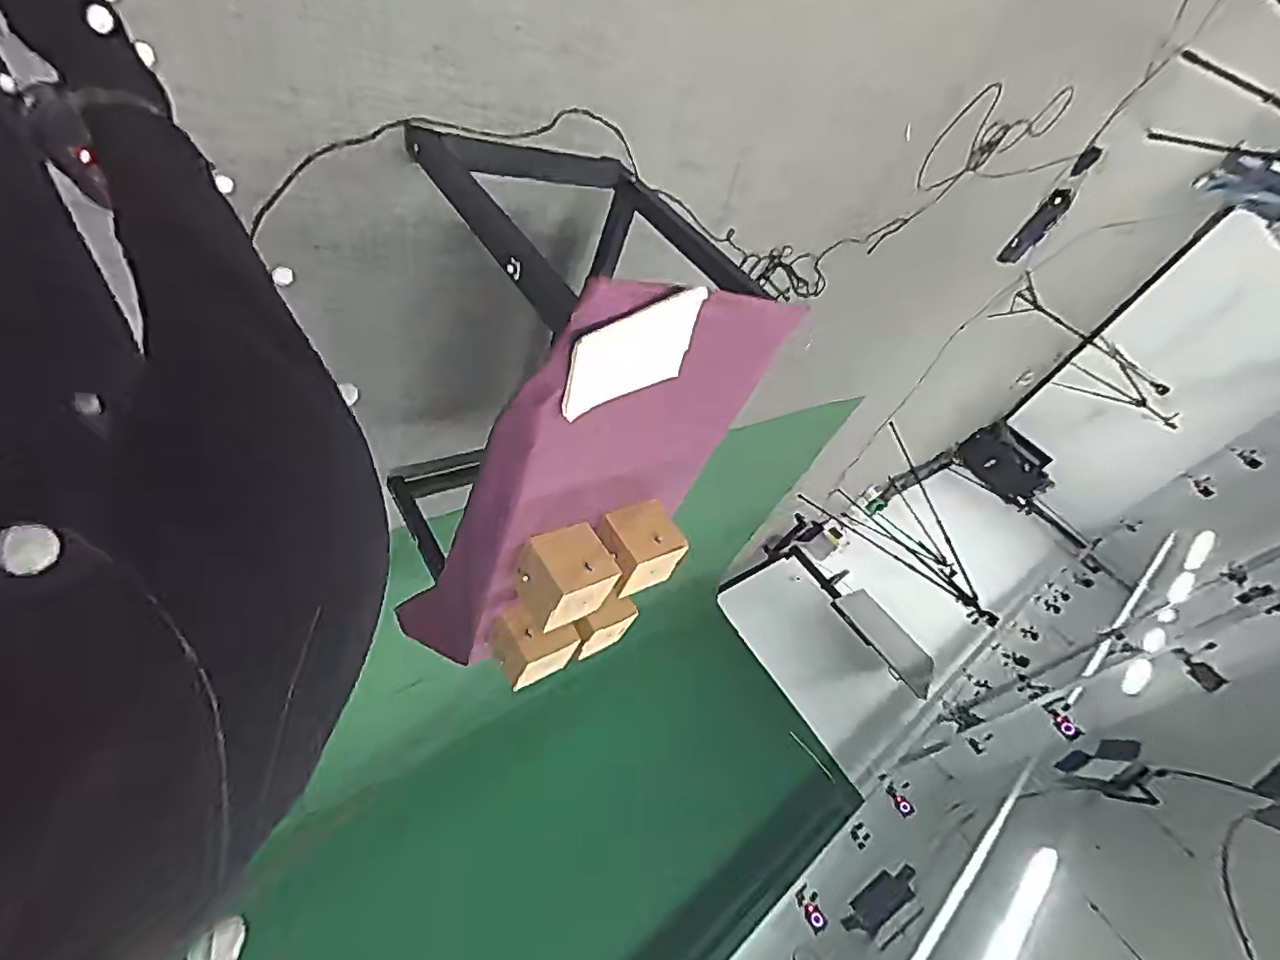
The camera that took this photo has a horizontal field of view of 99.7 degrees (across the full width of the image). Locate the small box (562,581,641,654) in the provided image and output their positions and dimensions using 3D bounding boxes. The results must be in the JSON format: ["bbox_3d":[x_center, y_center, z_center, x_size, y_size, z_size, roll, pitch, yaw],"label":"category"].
[{"bbox_3d":[-0.135,0.398,1.669,0.179,0.176,0.168,-12,145,-42],"label":"small box"}]

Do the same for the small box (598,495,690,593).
[{"bbox_3d":[-0.003,0.167,1.456,0.179,0.176,0.168,-18,148,-37],"label":"small box"}]

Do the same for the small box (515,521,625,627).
[{"bbox_3d":[-0.174,0.220,1.313,0.179,0.176,0.168,-14,146,-42],"label":"small box"}]
